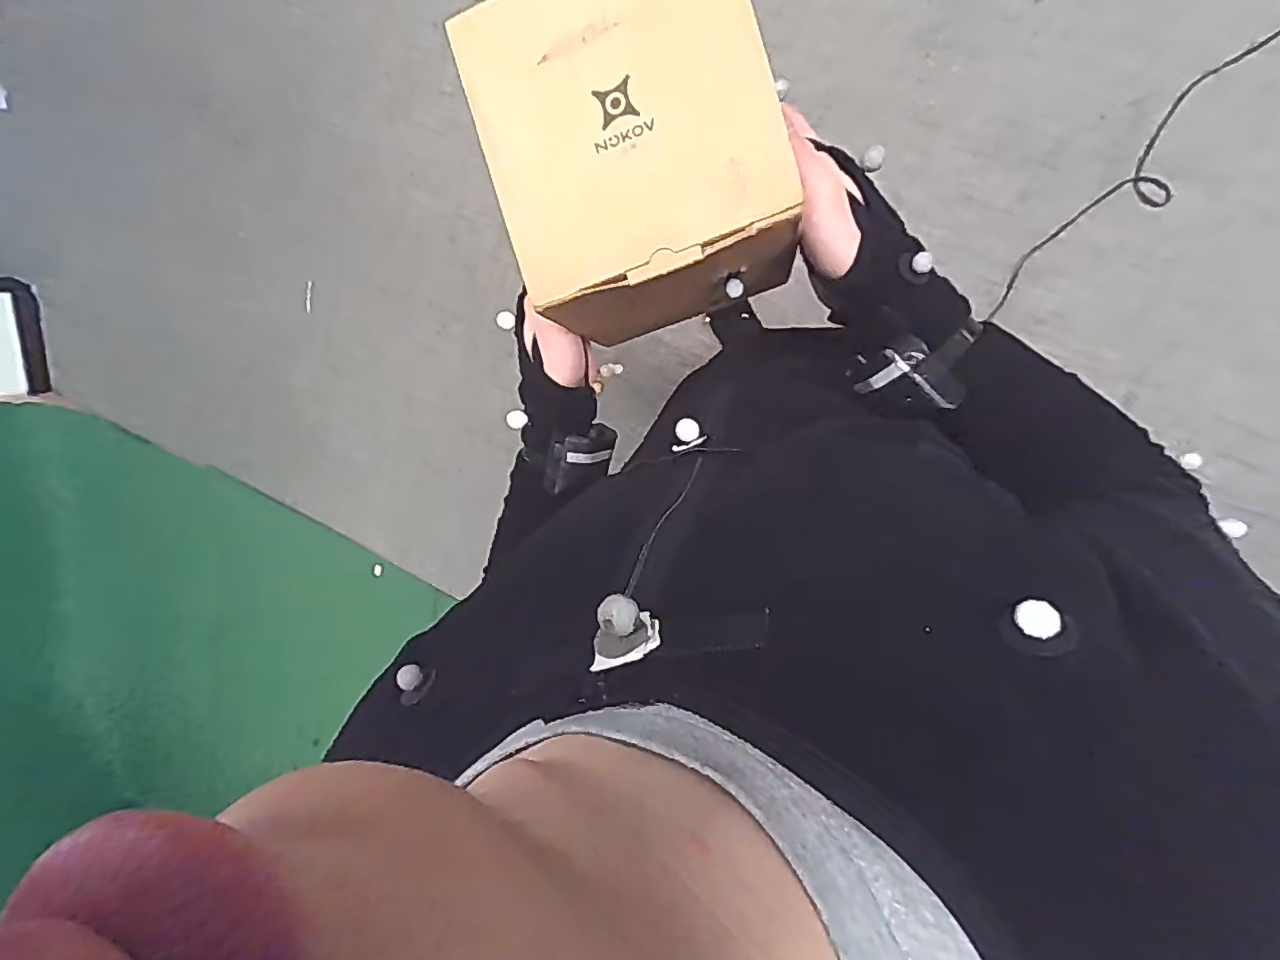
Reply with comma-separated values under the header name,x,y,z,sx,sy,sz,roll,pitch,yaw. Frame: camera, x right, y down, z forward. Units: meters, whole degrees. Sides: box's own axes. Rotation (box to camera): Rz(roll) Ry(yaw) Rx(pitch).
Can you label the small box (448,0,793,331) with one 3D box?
name,x,y,z,sx,sy,sz,roll,pitch,yaw
small box,0.002,-0.216,0.383,0.168,0.176,0.179,-16,92,12
